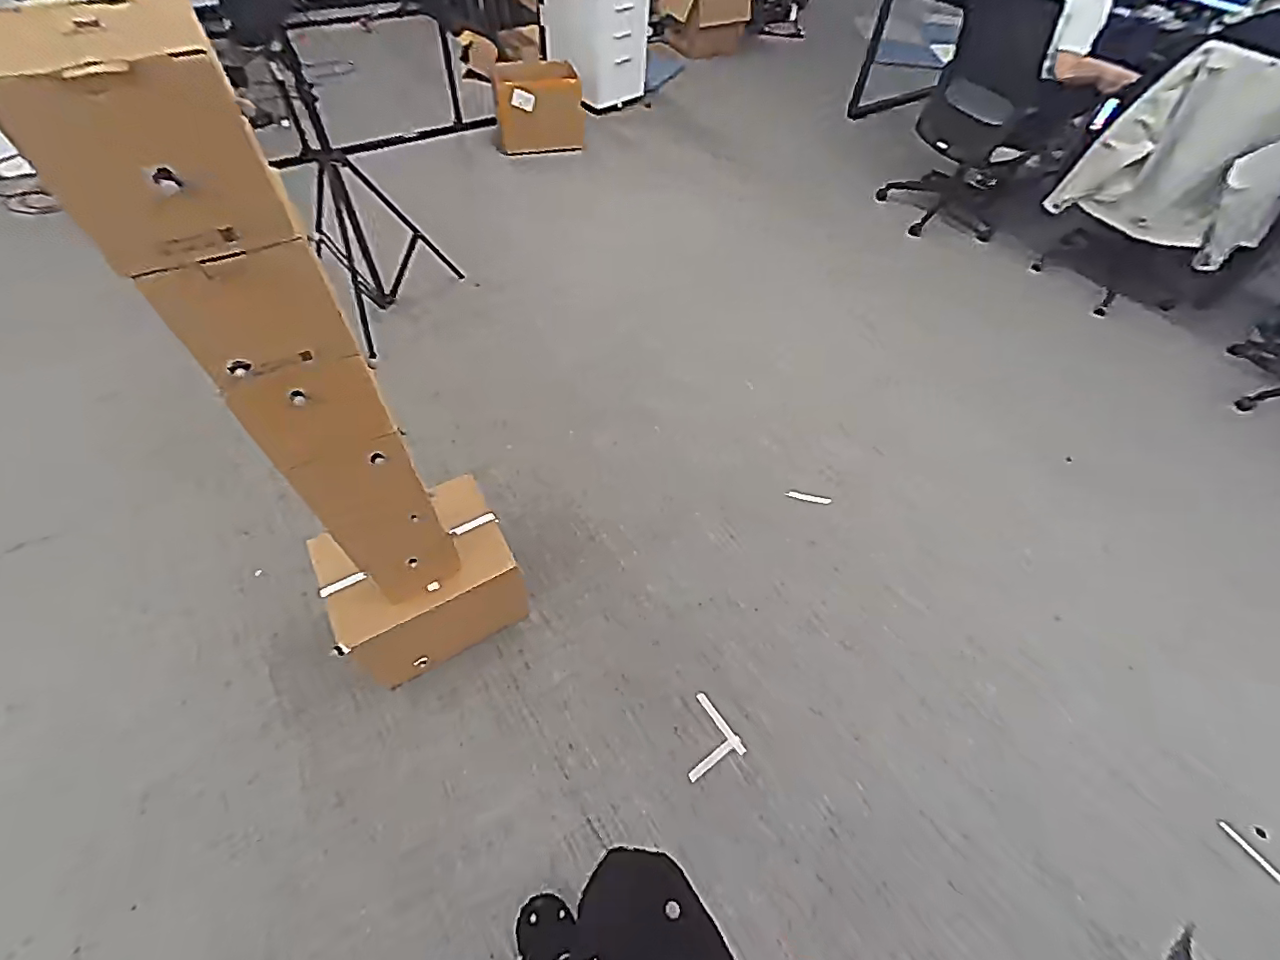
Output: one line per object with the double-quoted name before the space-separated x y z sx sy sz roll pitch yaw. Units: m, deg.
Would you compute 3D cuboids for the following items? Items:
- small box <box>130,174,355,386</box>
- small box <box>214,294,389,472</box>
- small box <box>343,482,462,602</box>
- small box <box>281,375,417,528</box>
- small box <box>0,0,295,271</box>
"small box" -0.482 -0.239 0.669 0.168 0.176 0.179 -24 60 -20
"small box" -0.494 -0.142 0.802 0.179 0.176 0.168 -24 61 -19
"small box" -0.520 0.142 1.201 0.179 0.176 0.168 -27 62 -23
"small box" -0.503 -0.048 0.933 0.179 0.176 0.168 -24 60 -20
"small box" -0.476 -0.329 0.532 0.168 0.176 0.179 -25 62 -20
